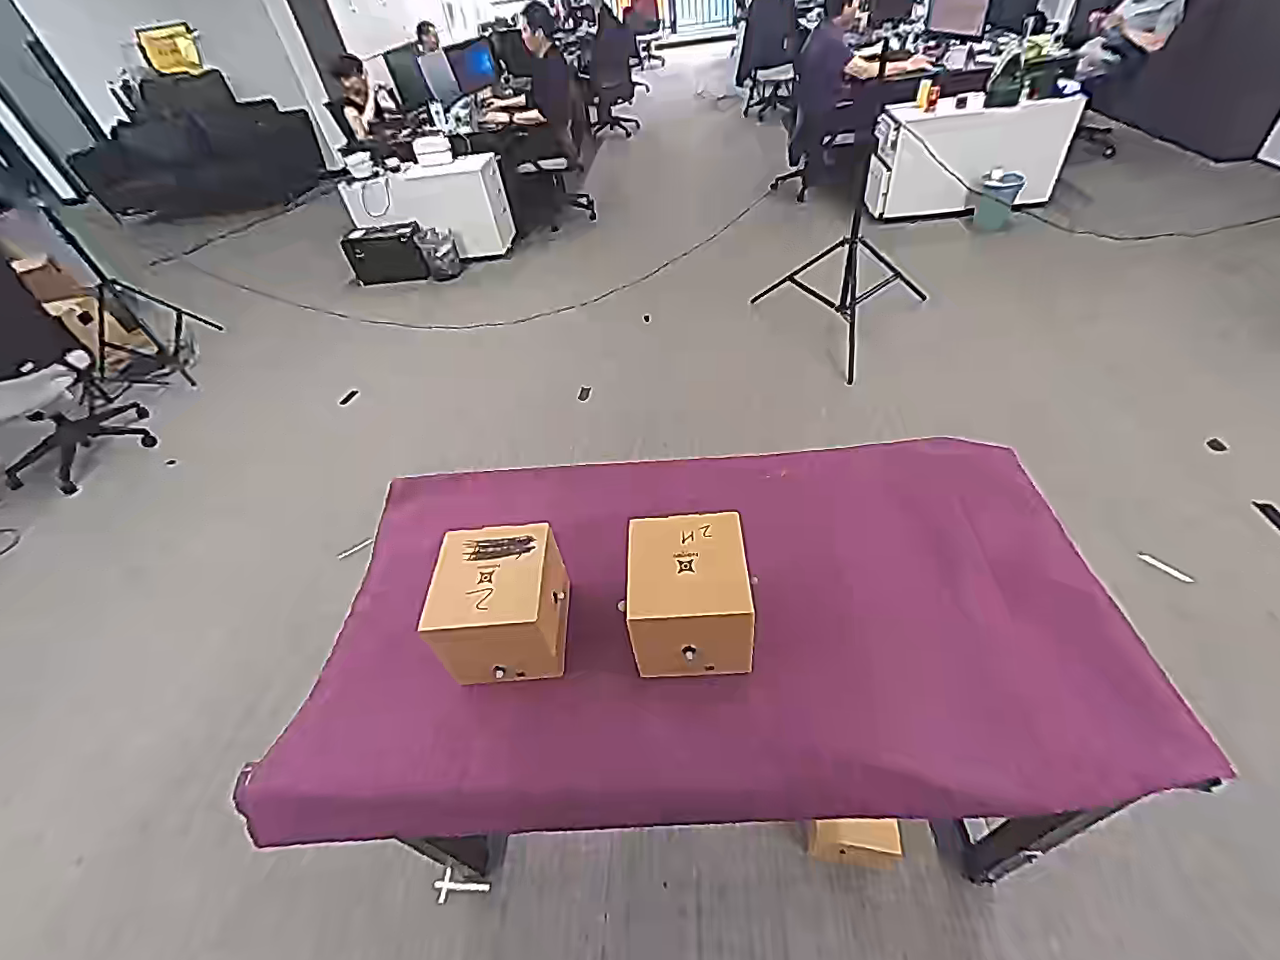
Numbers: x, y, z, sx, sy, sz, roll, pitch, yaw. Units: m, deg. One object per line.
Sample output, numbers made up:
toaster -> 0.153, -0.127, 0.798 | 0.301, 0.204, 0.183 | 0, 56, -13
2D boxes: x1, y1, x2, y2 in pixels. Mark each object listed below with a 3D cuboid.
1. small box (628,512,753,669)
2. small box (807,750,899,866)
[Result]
small box -> 0.077, 0.171, 0.811 | 0.168, 0.176, 0.179 | -4, 44, 5
small box -> 0.471, 0.740, 1.216 | 0.168, 0.176, 0.179 | 3, 45, 13
